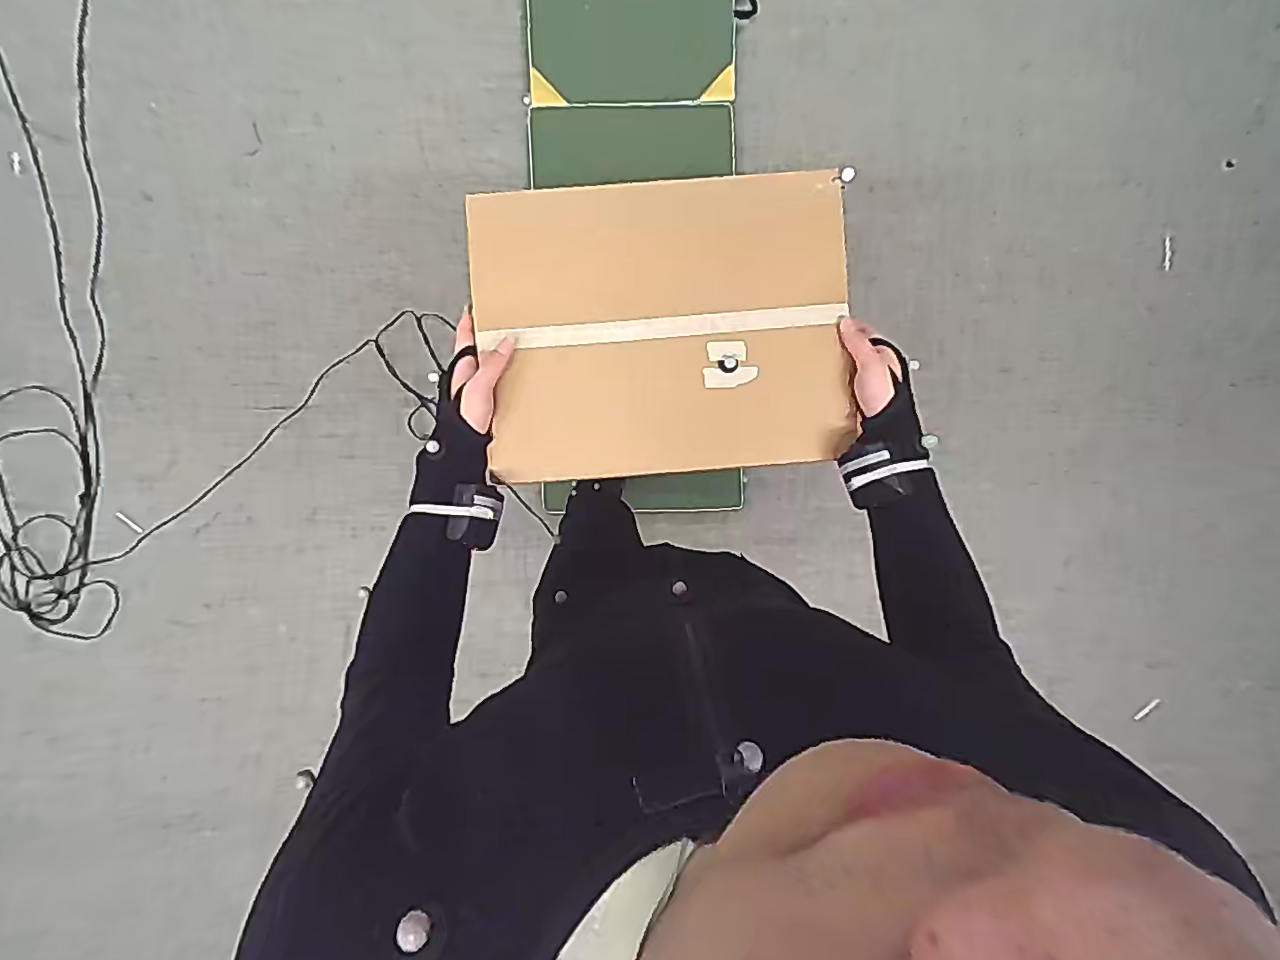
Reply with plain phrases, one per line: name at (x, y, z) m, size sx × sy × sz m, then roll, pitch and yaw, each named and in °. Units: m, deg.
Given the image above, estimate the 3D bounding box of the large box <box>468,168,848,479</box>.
large box at (0.018, -0.176, 0.744) m, size 0.408 × 0.320 × 0.320 m, roll -5°, pitch 92°, yaw -1°
